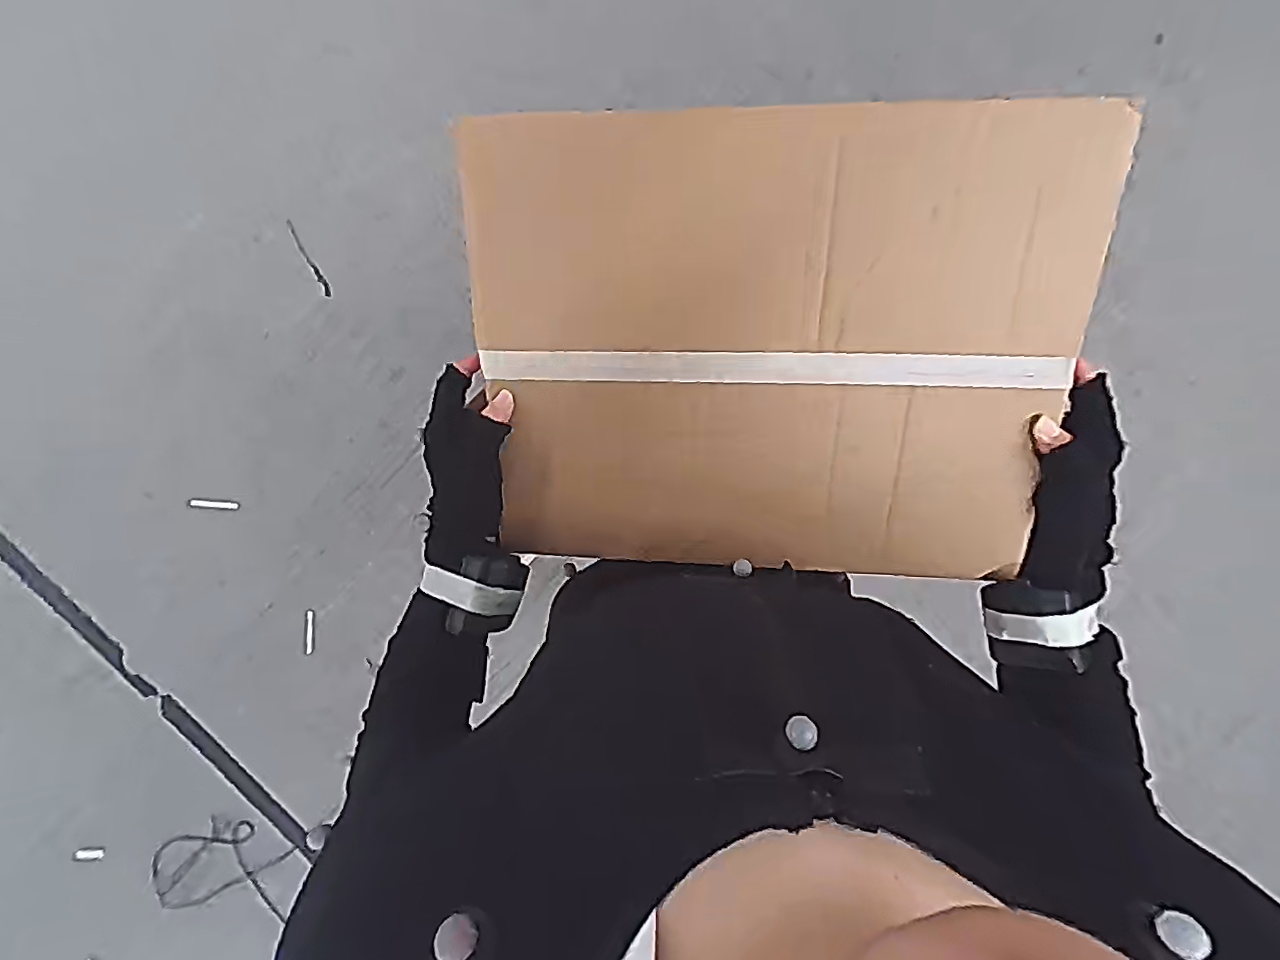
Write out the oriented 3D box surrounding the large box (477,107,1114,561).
[{"bbox_3d":[0.102,-0.134,0.531,0.408,0.320,0.320,2,112,6],"label":"large box"}]
